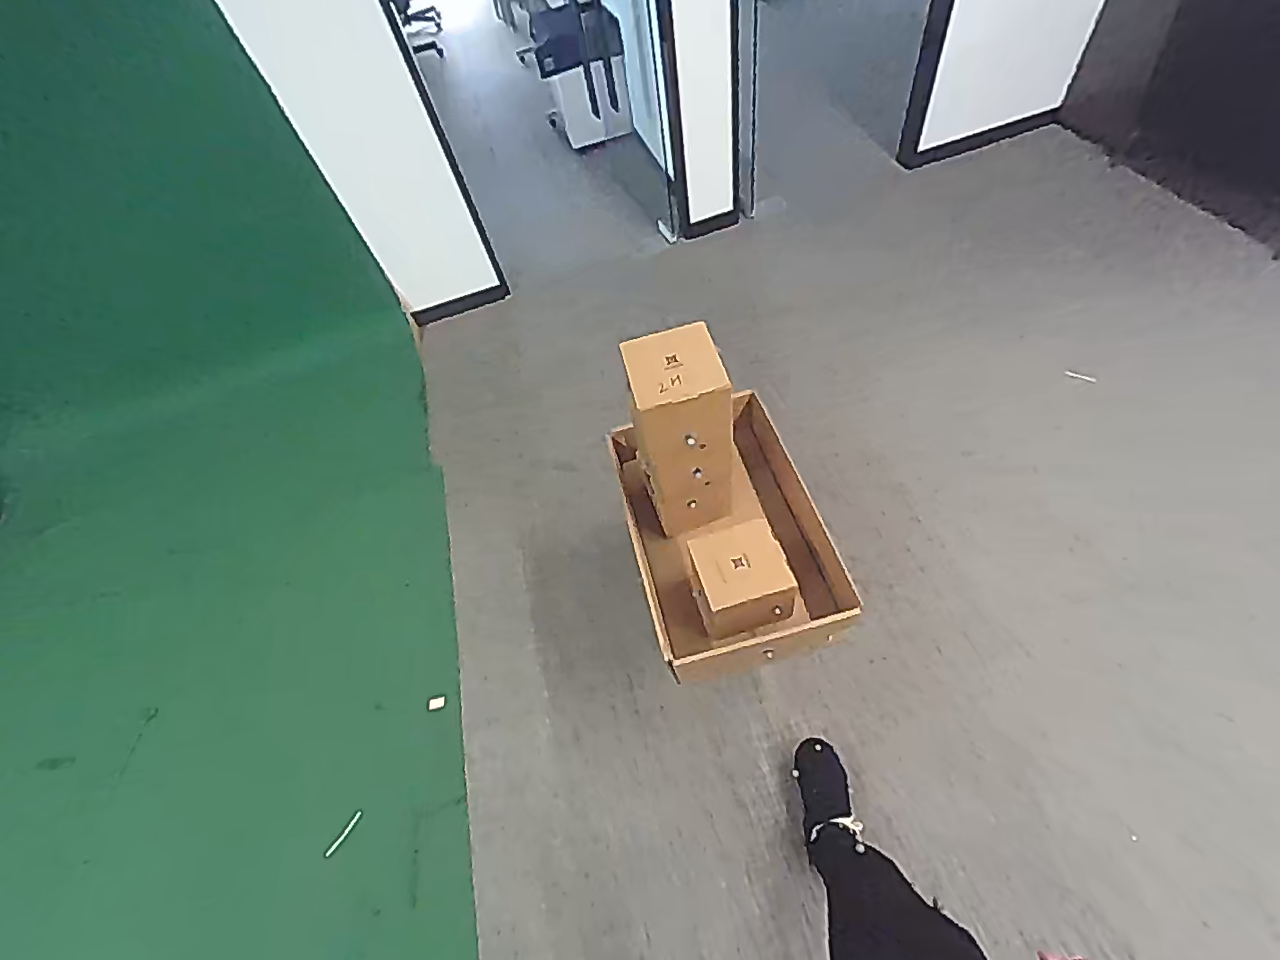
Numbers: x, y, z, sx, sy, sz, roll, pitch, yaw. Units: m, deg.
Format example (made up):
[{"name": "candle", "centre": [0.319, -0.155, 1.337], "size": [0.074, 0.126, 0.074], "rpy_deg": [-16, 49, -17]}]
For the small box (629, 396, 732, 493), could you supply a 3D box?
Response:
[{"name": "small box", "centre": [0.091, -0.093, 1.160], "size": [0.168, 0.176, 0.179], "rpy_deg": [-21, 57, -3]}]

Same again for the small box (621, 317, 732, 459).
[{"name": "small box", "centre": [0.070, -0.169, 1.014], "size": [0.168, 0.176, 0.179], "rpy_deg": [-15, 57, 2]}]
